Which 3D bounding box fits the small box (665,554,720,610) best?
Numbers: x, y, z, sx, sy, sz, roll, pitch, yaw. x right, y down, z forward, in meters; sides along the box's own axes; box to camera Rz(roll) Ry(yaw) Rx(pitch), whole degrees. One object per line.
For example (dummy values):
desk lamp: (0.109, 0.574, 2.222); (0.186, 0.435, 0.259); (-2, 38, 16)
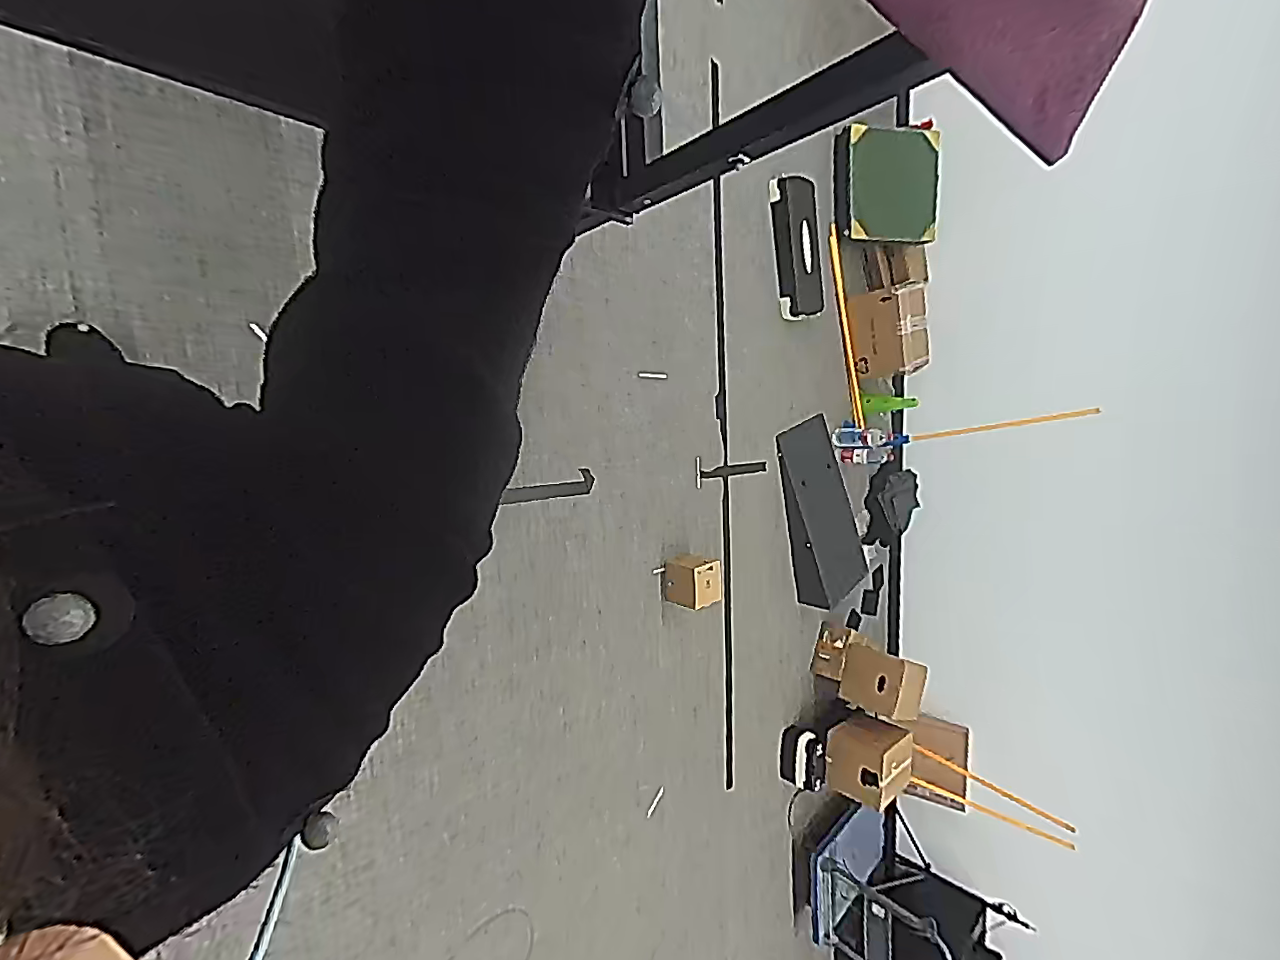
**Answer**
small box: (0.219, 0.422, 2.264); (0.168, 0.176, 0.179); (-9, 100, -43)
